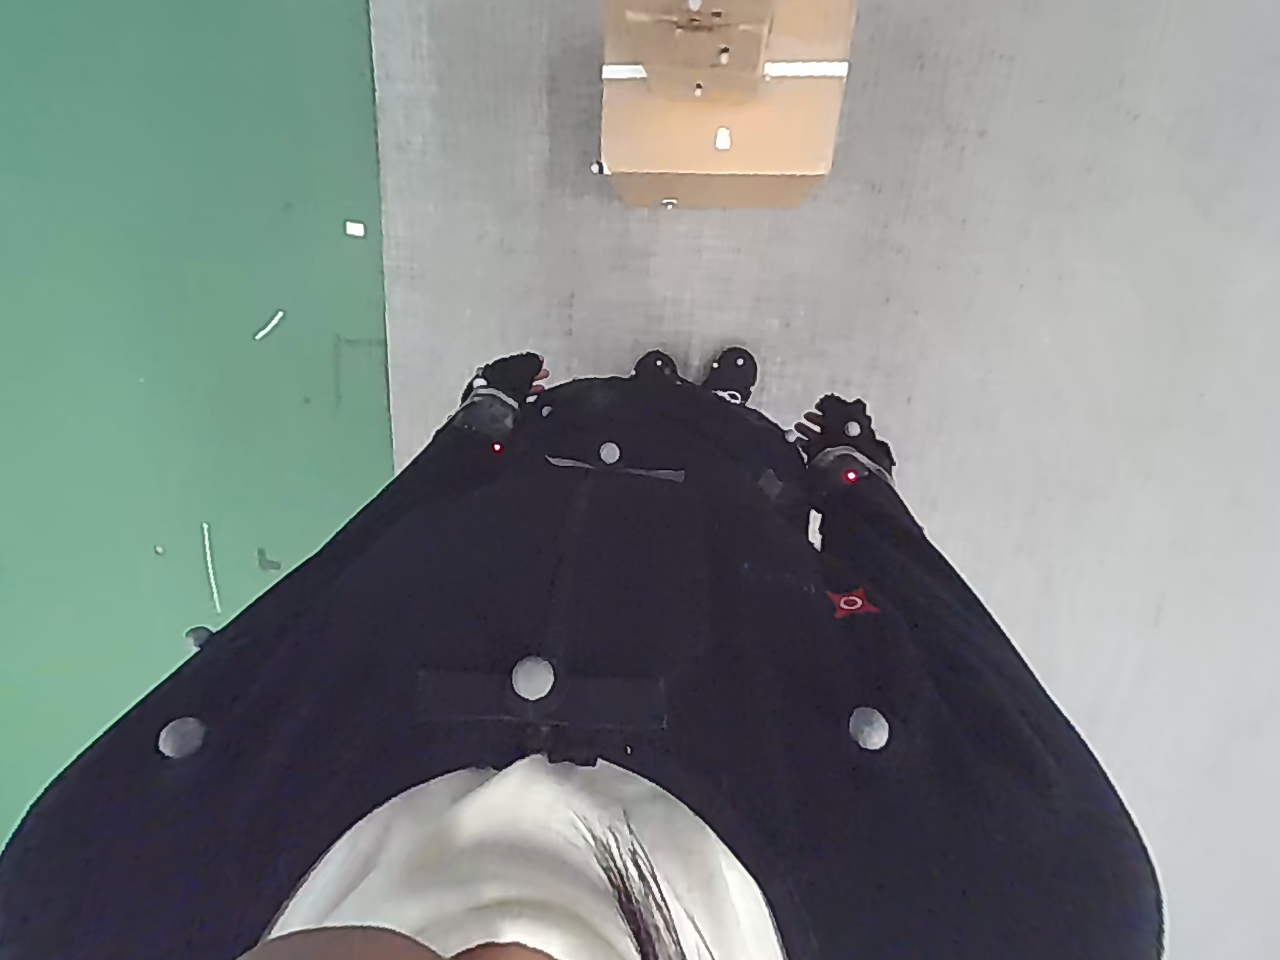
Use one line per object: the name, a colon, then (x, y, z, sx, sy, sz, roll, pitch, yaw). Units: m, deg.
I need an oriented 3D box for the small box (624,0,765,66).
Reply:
small box: (0.080, -0.642, 0.666, 0.168, 0.176, 0.179, 8, 112, 4)

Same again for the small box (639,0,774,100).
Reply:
small box: (0.107, -0.697, 0.813, 0.179, 0.176, 0.168, 12, 112, 4)

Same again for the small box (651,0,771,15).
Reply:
small box: (0.066, -0.584, 0.513, 0.168, 0.176, 0.179, 10, 114, 4)
